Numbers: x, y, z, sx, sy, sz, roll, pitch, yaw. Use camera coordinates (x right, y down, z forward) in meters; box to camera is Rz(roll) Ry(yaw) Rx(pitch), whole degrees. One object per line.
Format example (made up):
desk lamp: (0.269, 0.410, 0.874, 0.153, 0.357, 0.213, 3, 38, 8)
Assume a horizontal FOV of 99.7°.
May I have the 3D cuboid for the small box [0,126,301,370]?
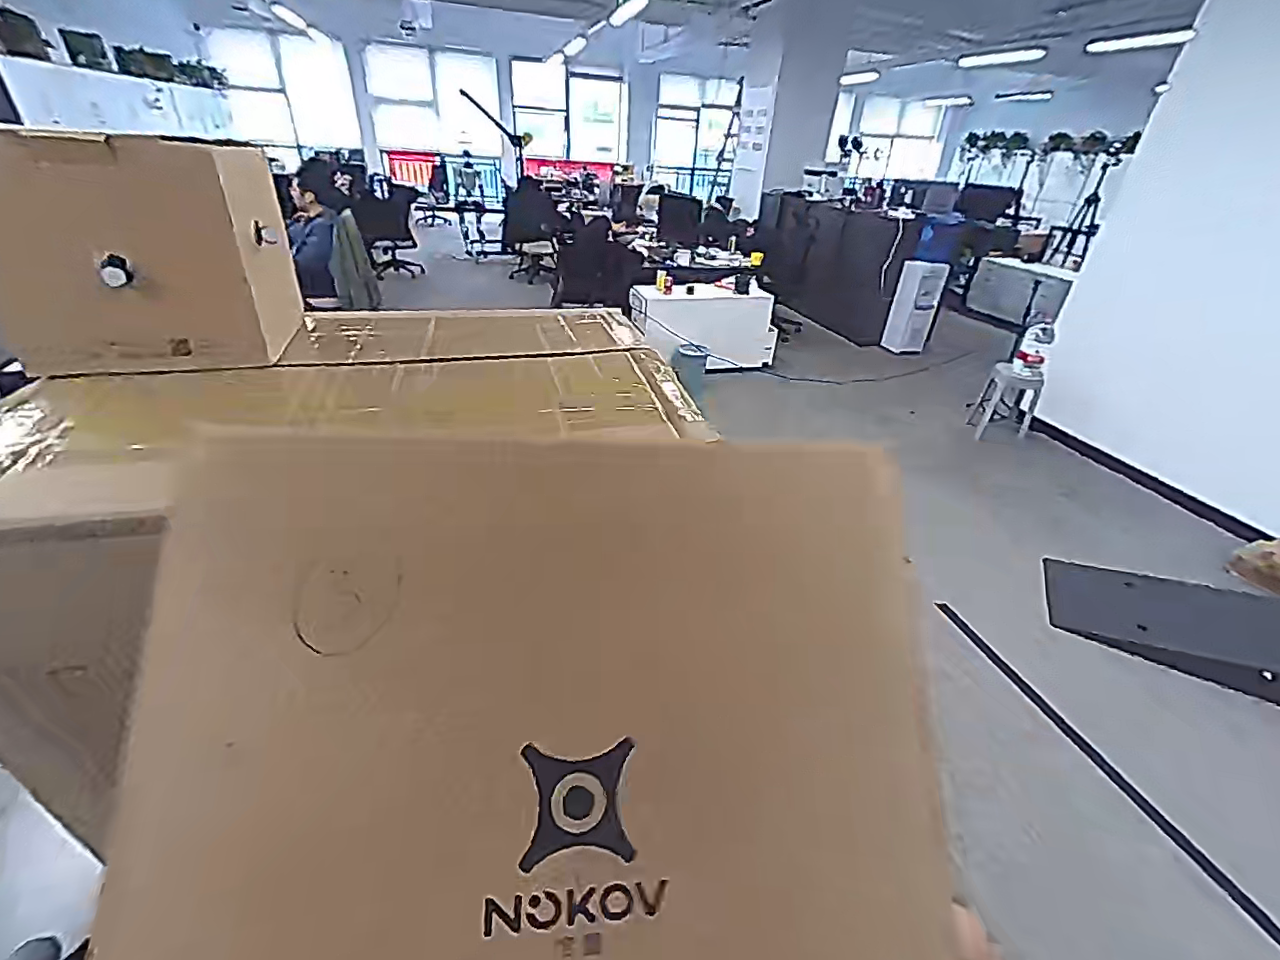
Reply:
small box: (-0.415, -0.198, 0.465, 0.168, 0.176, 0.179, -7, 32, -19)
